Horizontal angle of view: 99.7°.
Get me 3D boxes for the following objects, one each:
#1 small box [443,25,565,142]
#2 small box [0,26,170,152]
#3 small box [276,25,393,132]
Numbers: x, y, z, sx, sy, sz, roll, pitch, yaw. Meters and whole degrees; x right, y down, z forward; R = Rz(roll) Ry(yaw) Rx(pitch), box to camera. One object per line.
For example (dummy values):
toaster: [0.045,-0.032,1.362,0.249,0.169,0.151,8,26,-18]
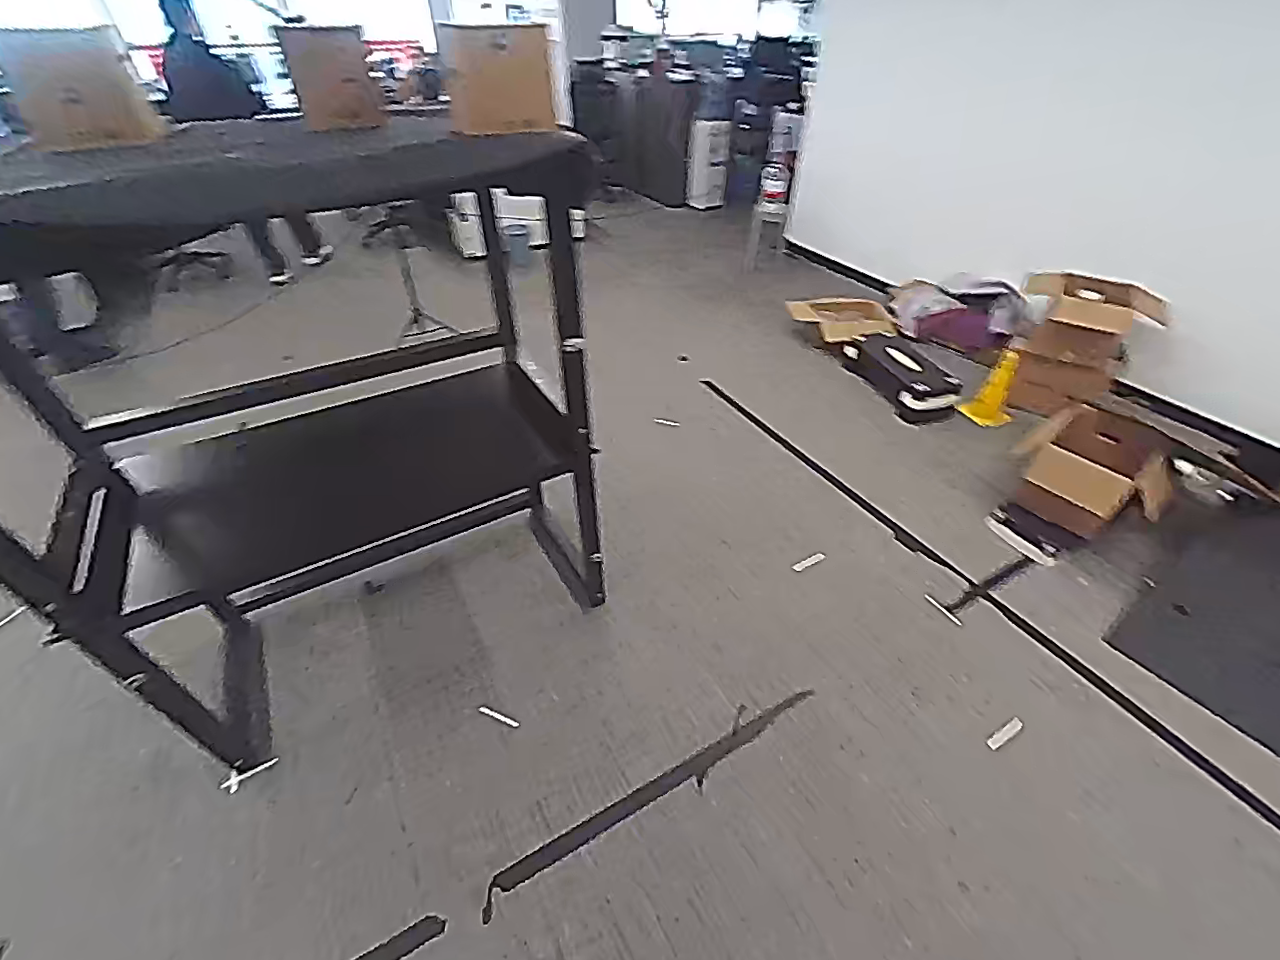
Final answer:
small box: [-0.255,-0.753,1.028,0.168,0.176,0.179,-22,44,-21]
small box: [-0.980,-0.694,0.962,0.168,0.176,0.179,-21,46,-23]
small box: [-0.628,-0.833,1.125,0.168,0.176,0.179,-16,43,-19]
